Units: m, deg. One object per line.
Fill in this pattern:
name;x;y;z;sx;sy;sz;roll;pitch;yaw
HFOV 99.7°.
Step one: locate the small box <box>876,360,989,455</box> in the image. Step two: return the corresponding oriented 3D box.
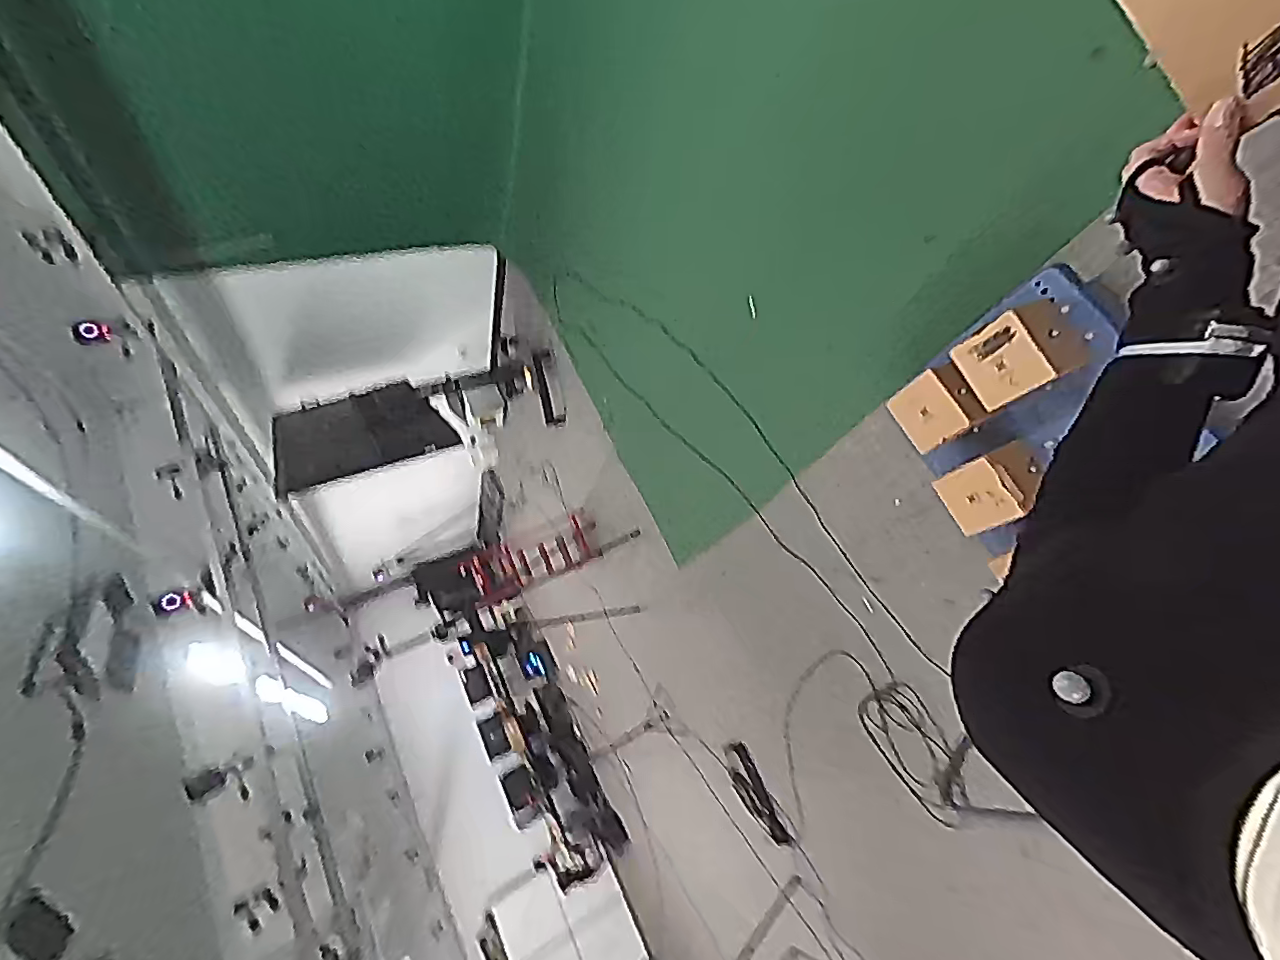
small box;0.789;-0.198;1.457;0.179;0.176;0.168;62;151;15
